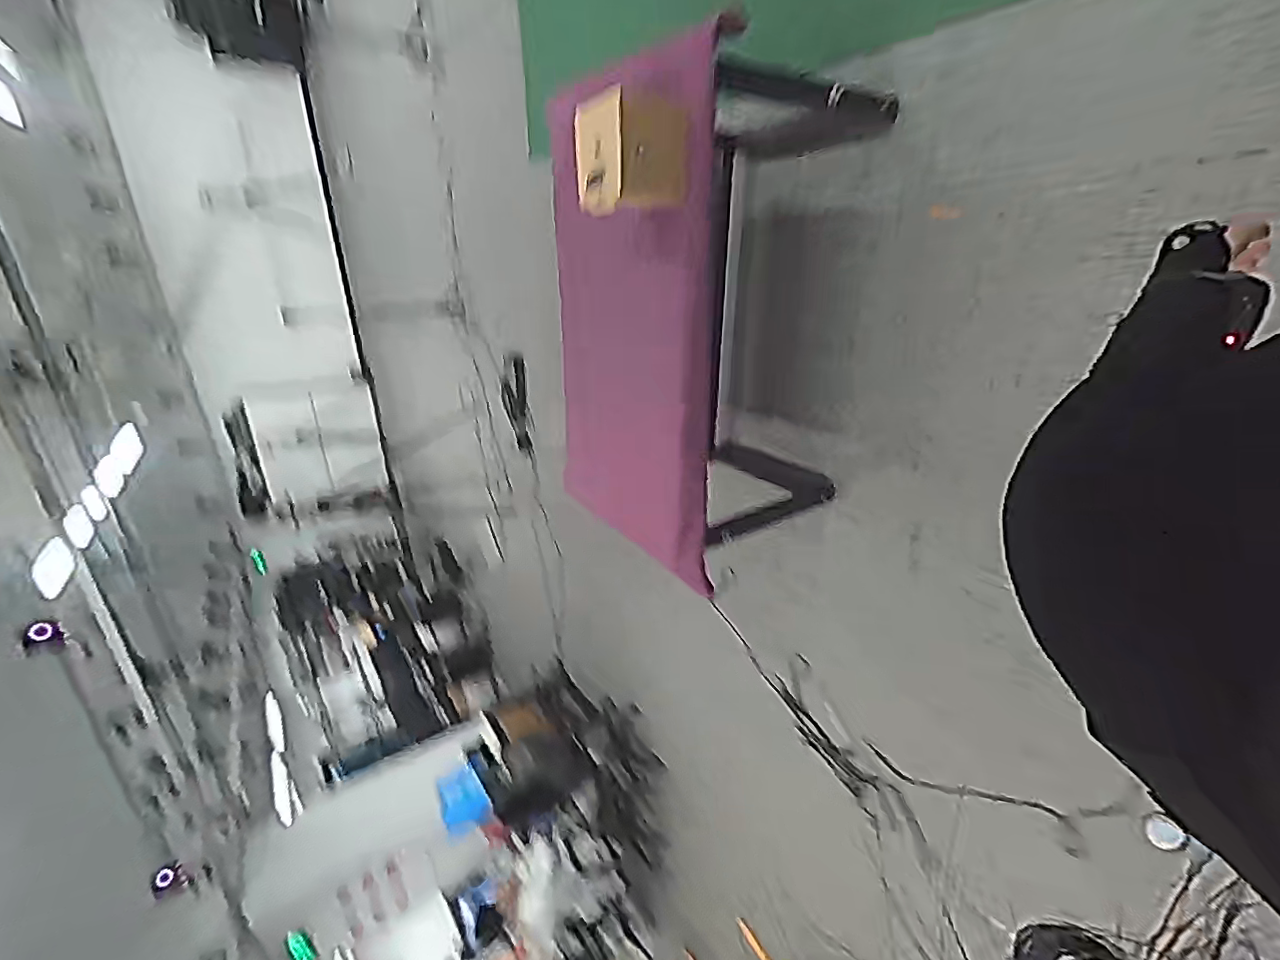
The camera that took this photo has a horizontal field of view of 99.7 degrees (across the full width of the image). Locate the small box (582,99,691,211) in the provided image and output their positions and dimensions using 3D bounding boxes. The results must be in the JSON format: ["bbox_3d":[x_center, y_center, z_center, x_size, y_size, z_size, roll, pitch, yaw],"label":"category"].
[{"bbox_3d":[-0.005,-0.669,1.134,0.168,0.176,0.179,25,124,50],"label":"small box"}]
